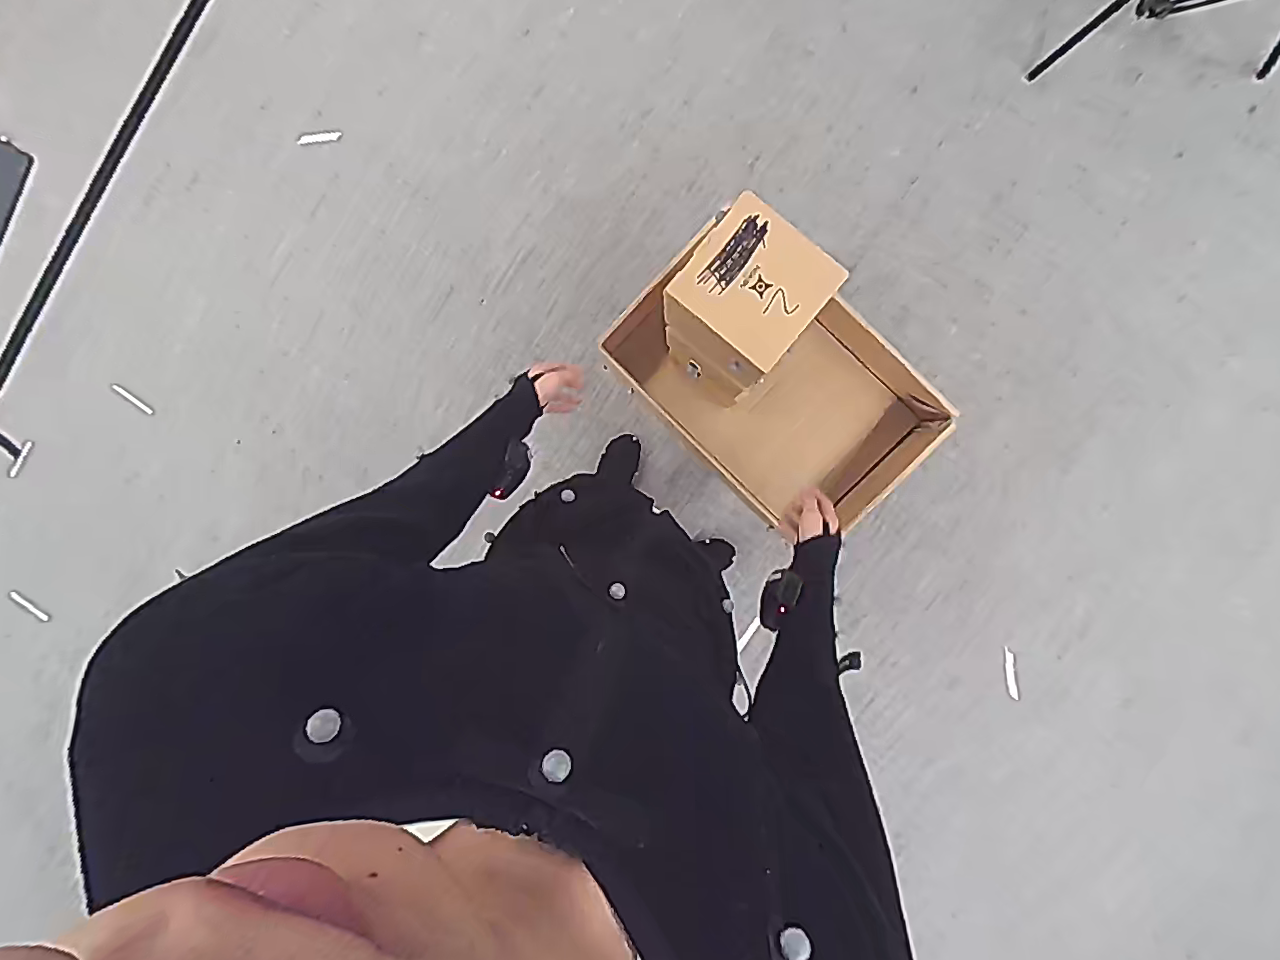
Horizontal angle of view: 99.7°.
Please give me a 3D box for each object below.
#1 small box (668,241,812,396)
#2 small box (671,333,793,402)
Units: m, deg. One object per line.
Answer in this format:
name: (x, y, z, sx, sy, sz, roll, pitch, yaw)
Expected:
small box: (0.160, -0.267, 0.936, 0.168, 0.176, 0.179, 39, 95, 1)
small box: (0.176, -0.272, 1.100, 0.179, 0.176, 0.168, 41, 96, -1)
